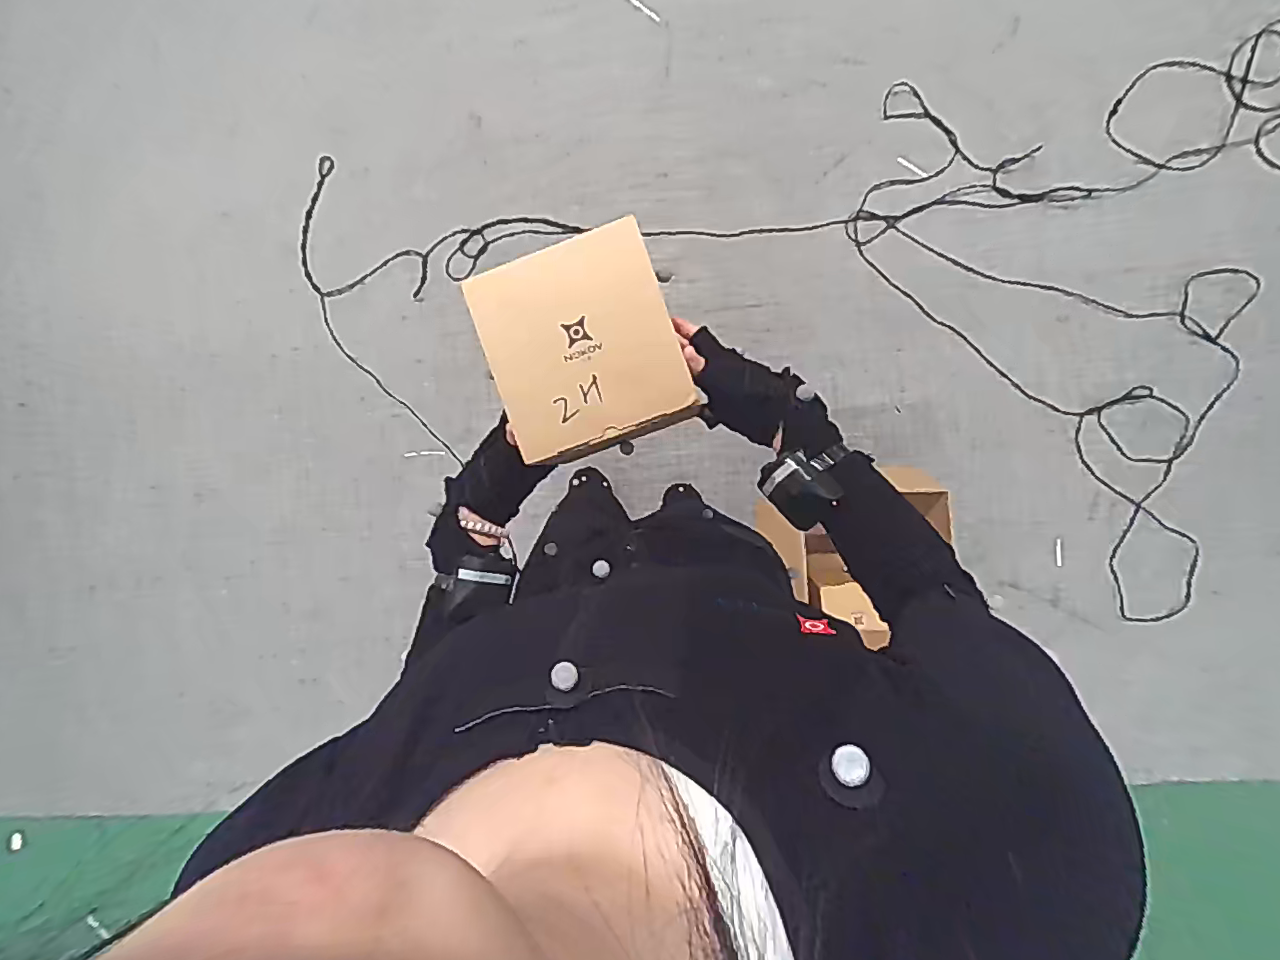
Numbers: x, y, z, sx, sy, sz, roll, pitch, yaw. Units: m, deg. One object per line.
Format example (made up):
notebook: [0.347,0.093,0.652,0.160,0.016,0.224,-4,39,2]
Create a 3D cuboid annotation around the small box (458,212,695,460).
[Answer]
small box: [-0.052,-0.125,0.545,0.168,0.176,0.179,-20,91,5]
